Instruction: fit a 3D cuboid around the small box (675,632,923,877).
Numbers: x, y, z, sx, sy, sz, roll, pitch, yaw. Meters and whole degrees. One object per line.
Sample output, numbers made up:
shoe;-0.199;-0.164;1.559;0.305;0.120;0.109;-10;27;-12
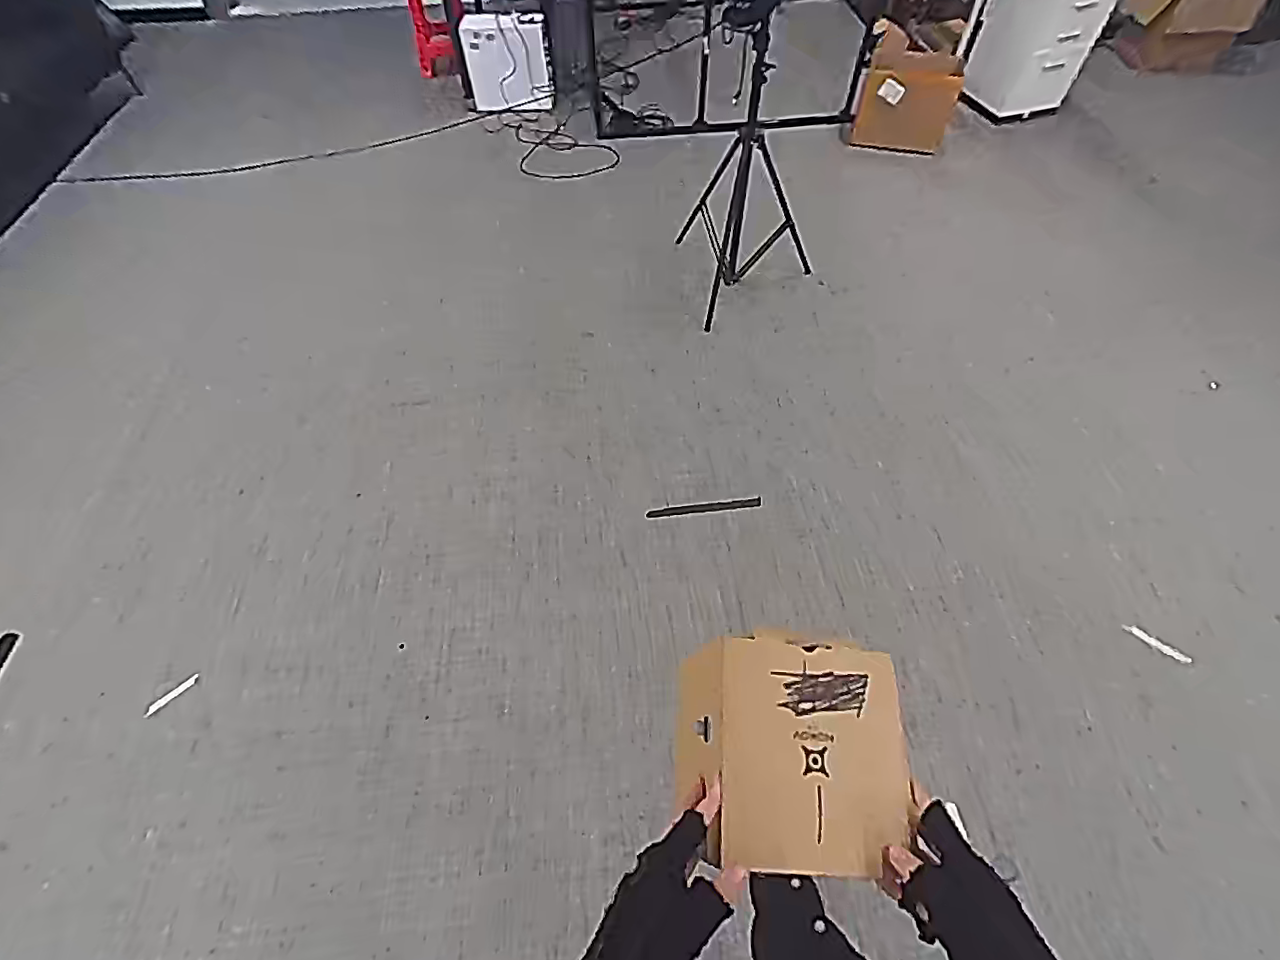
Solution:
small box;0.132;0.261;0.521;0.168;0.176;0.179;8;61;-6
